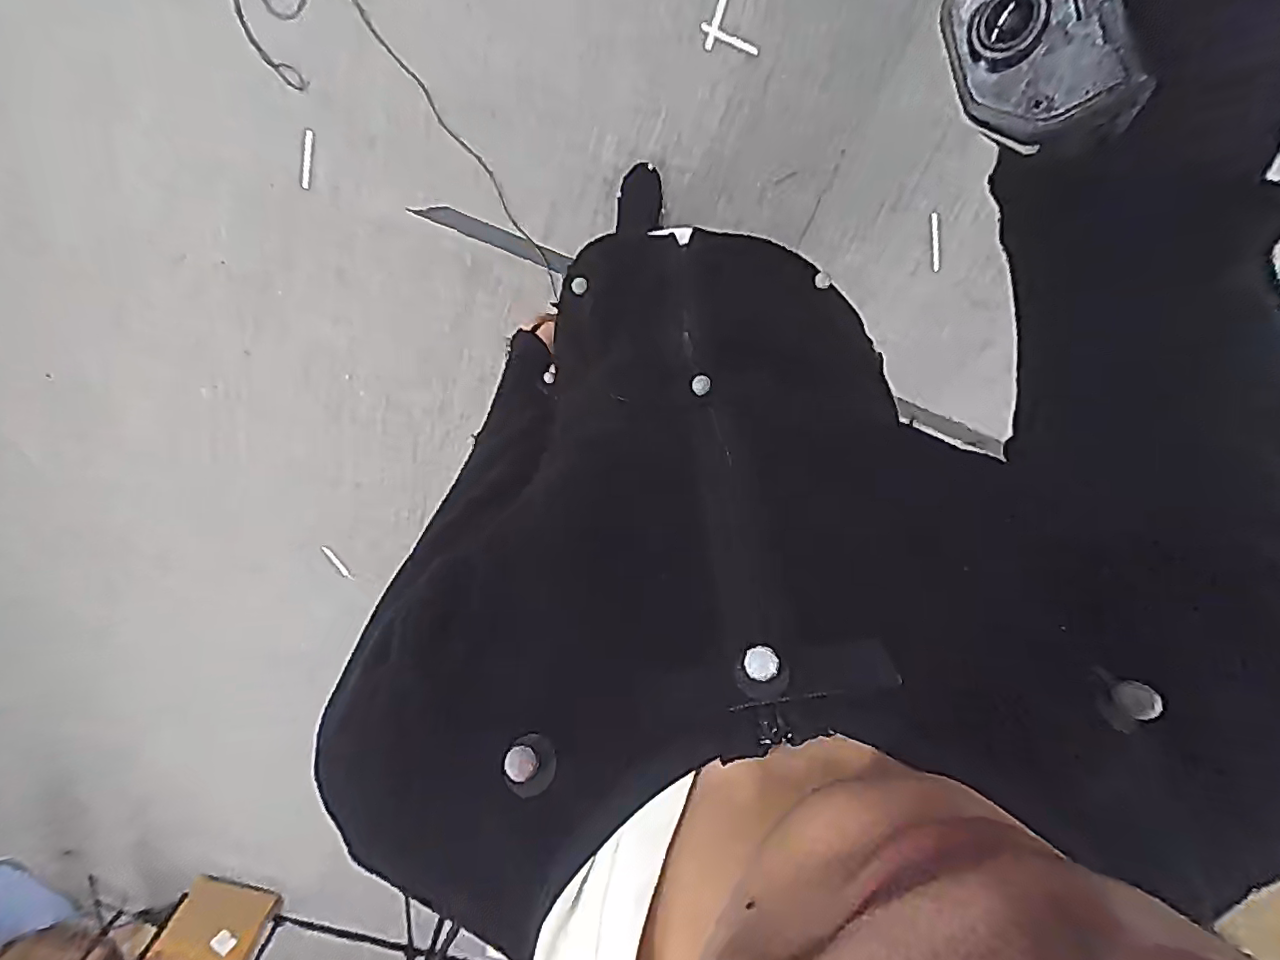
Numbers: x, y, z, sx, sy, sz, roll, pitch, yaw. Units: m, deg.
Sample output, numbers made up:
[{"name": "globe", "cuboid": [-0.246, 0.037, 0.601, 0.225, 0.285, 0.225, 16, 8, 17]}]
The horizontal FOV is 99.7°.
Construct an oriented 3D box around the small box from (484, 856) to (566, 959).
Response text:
[{"name": "small box", "cuboid": [-0.311, 1.181, 1.485, 0.168, 0.176, 0.179, 18, 117, -7]}]
